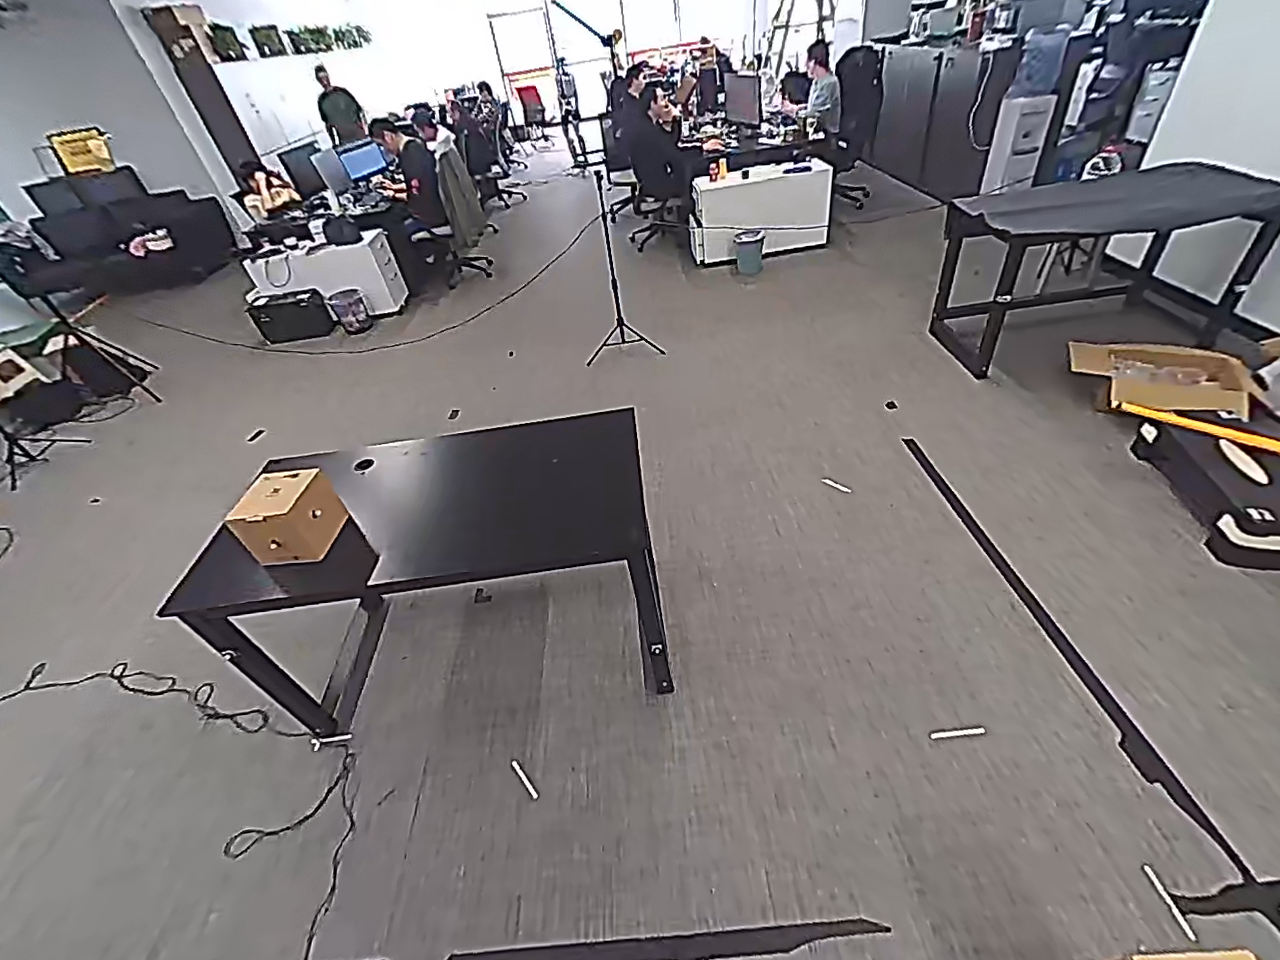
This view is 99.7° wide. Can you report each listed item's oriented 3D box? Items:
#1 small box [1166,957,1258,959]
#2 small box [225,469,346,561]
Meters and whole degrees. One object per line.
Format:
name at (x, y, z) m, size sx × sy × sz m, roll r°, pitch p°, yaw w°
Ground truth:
small box at (0.841, 0.828, 0.800) m, size 0.179 × 0.176 × 0.168 m, roll -7°, pitch 41°, yaw 4°
small box at (-0.894, 0.096, 1.388) m, size 0.168 × 0.176 × 0.179 m, roll -6°, pitch 41°, yaw 5°
